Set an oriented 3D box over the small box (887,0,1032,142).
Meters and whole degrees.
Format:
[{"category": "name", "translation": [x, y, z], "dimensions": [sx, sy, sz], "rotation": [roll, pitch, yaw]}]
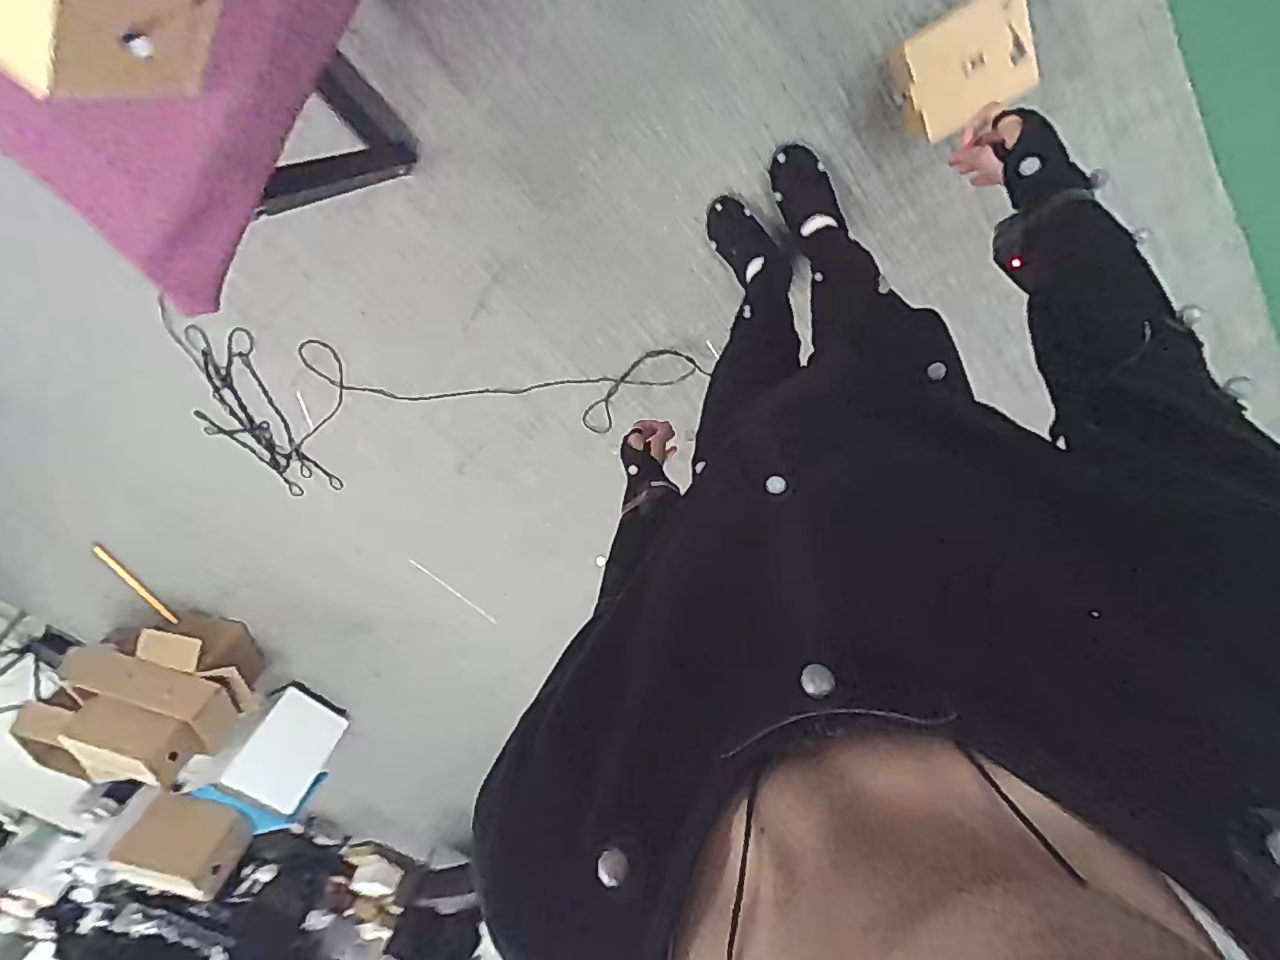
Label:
[{"category": "small box", "translation": [0.556, -0.739, 0.963], "dimensions": [0.179, 0.176, 0.168], "rotation": [-21, 120, 26]}]
